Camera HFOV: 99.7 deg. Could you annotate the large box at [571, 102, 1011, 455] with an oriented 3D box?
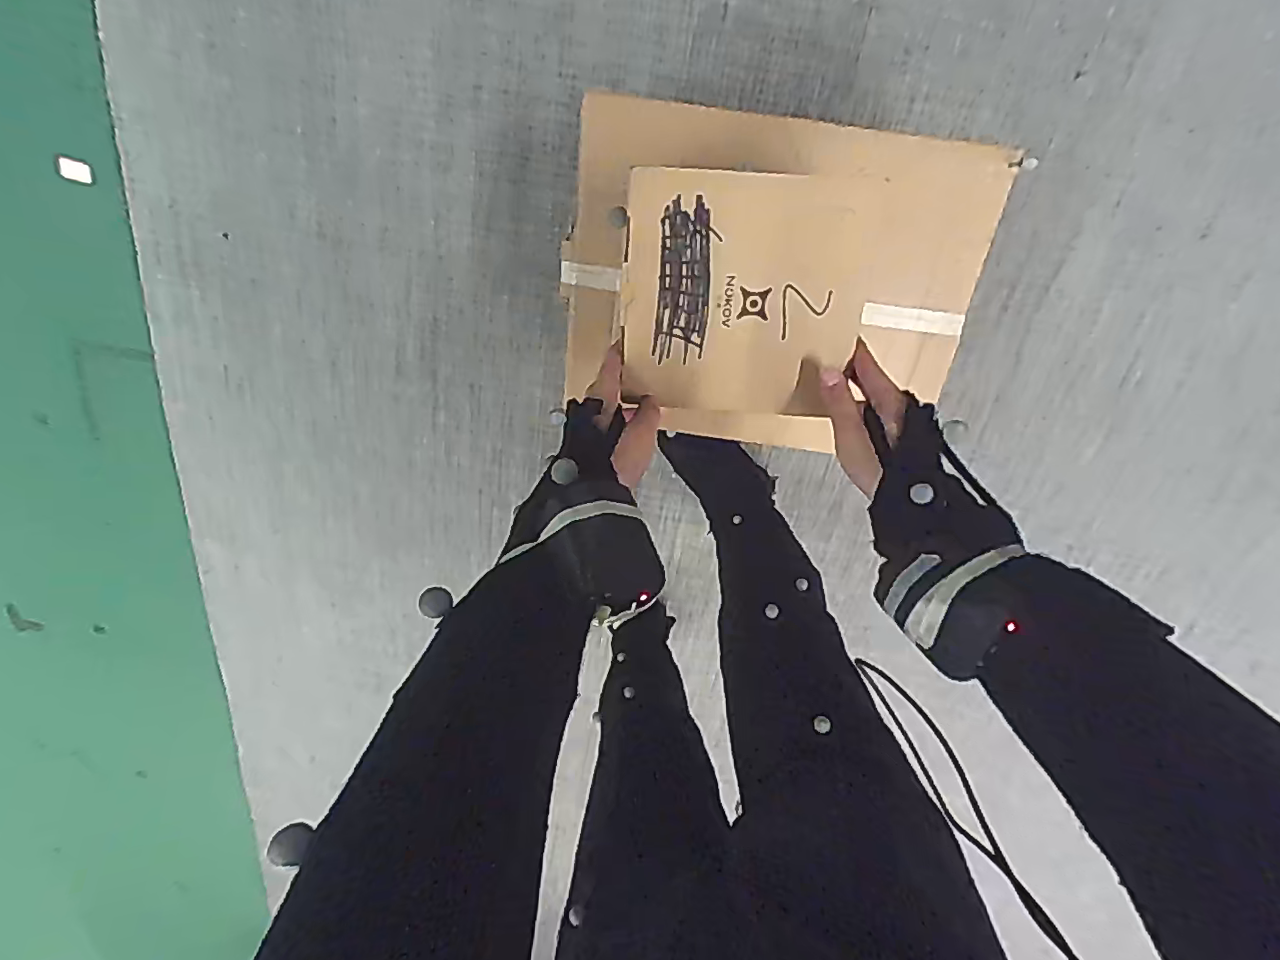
[{"bbox_3d":[0.139,-0.247,0.695,0.408,0.320,0.320,8,114,0],"label":"large box"}]
